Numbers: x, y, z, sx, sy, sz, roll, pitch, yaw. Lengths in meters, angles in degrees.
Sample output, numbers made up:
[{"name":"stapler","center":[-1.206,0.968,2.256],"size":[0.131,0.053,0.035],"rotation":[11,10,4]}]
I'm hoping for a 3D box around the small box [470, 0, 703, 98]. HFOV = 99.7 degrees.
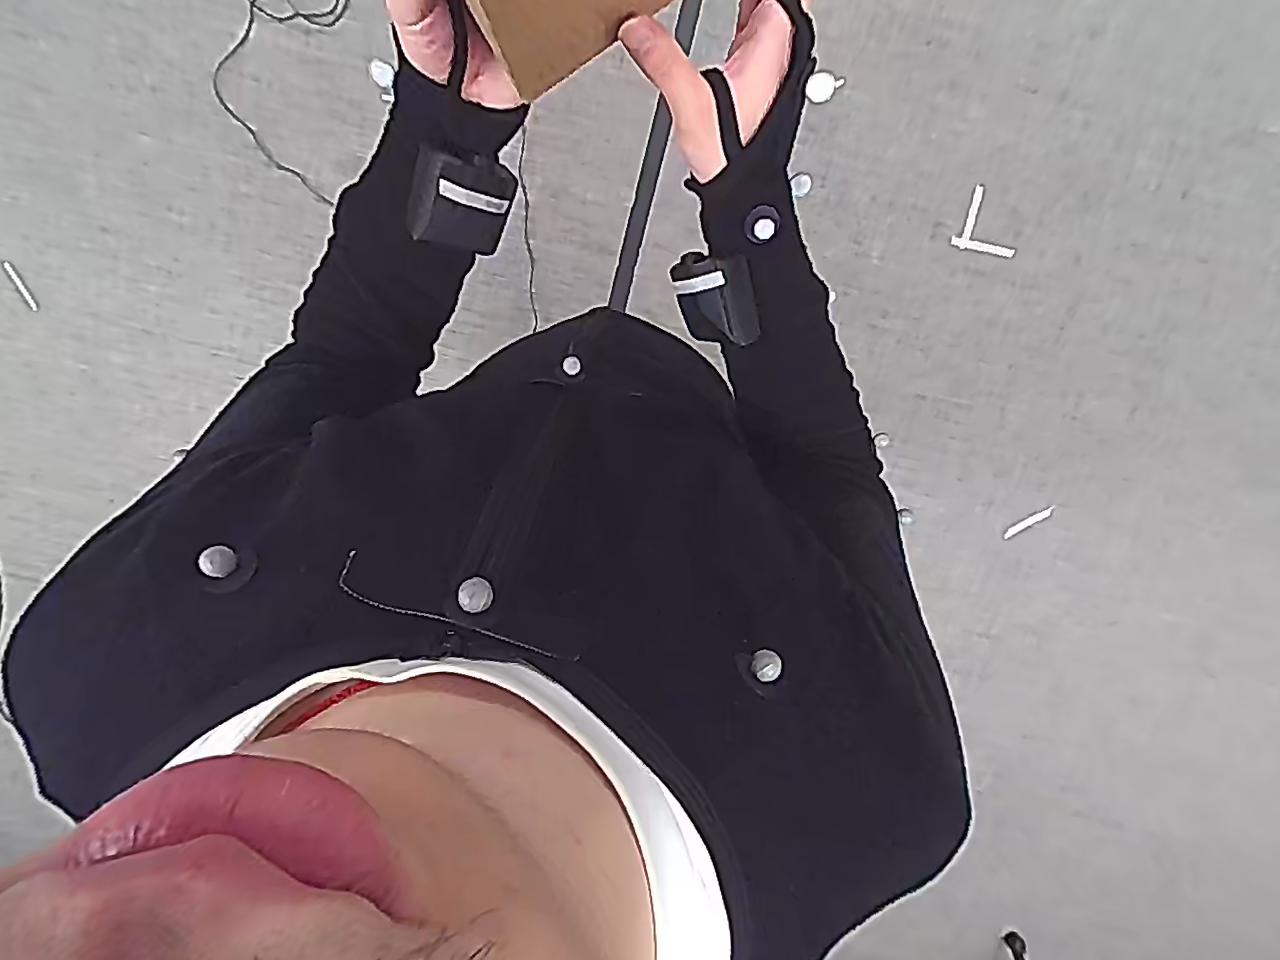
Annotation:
[{"name":"small box","center":[-0.019,-0.282,0.184],"size":[0.179,0.176,0.168],"rotation":[-31,108,7]}]
